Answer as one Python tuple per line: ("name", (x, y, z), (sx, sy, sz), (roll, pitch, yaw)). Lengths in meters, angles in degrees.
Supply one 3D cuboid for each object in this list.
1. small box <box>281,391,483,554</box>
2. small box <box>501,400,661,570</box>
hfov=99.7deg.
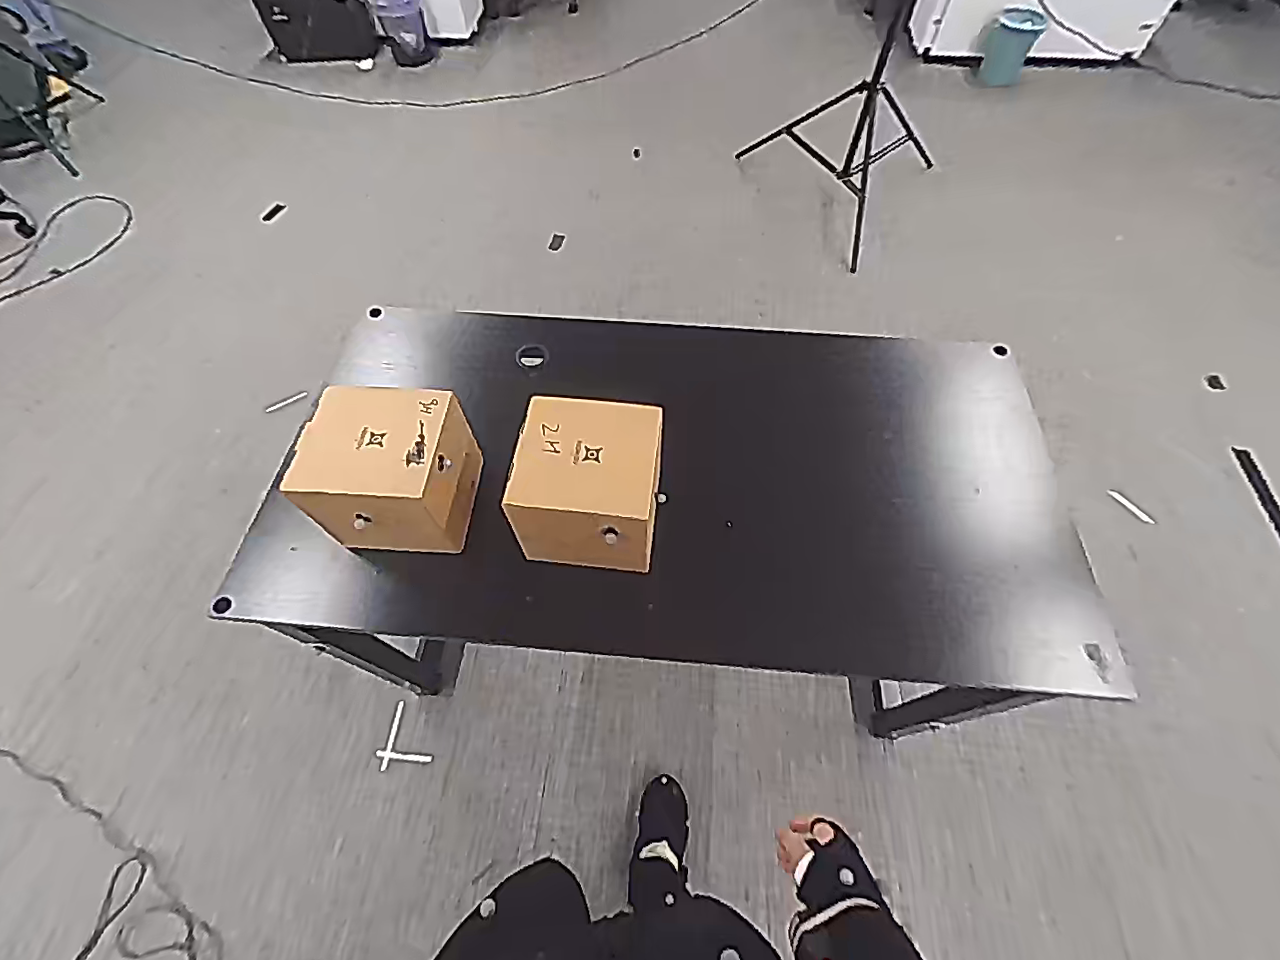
("small box", (-0.340, -0.005, 0.752), (0.179, 0.176, 0.168), (2, 59, 2))
("small box", (-0.067, 0.013, 0.737), (0.179, 0.176, 0.168), (5, 59, 4))
